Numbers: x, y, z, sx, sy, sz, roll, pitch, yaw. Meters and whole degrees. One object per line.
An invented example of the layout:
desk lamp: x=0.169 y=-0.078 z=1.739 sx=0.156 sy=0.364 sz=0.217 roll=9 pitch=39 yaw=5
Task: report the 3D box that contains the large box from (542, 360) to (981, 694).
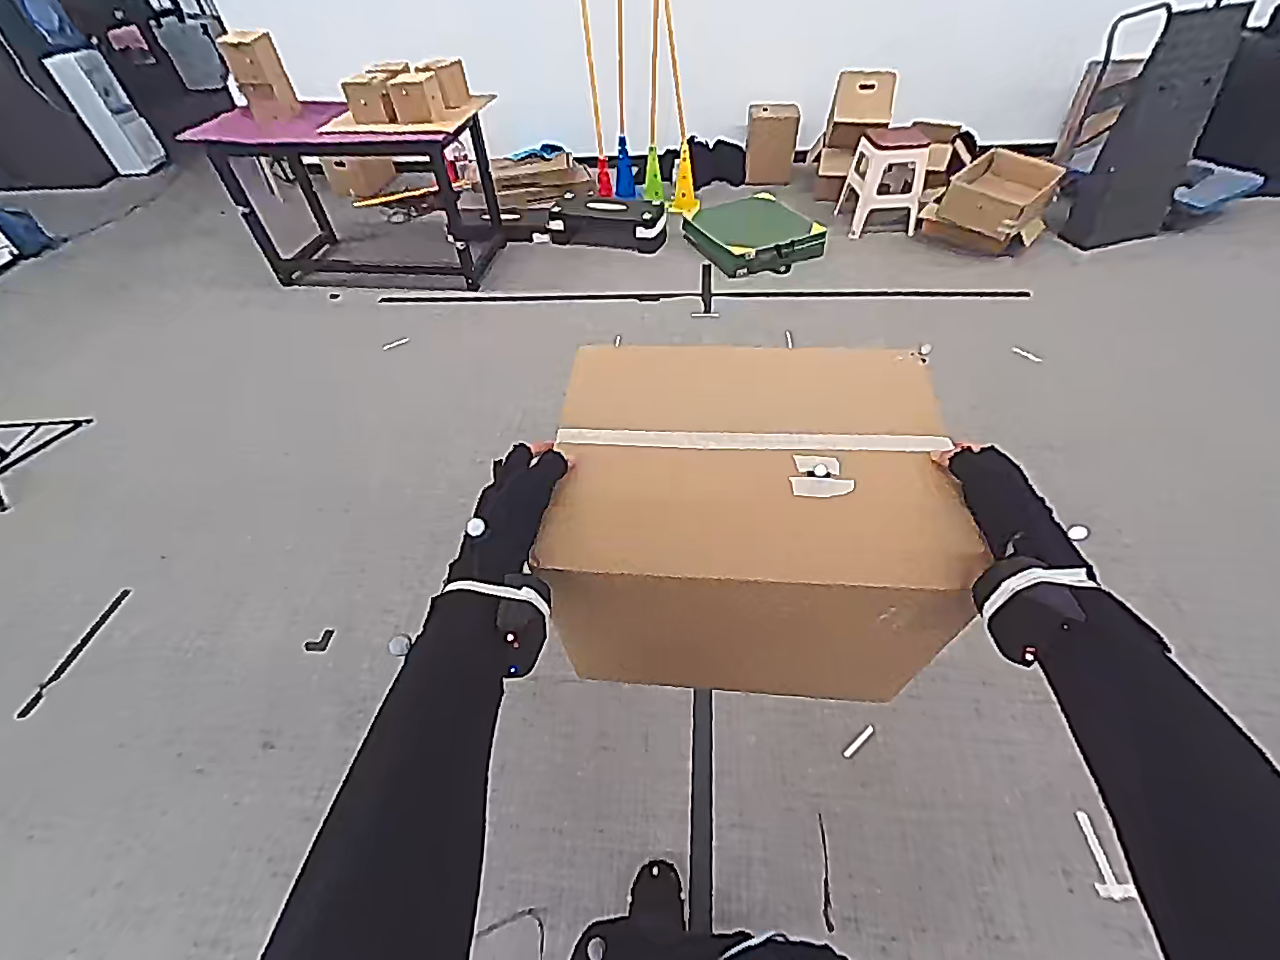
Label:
large box: x=0.121 y=0.064 z=0.694 sx=0.408 sy=0.320 sz=0.320 roll=2 pitch=53 yaw=6
